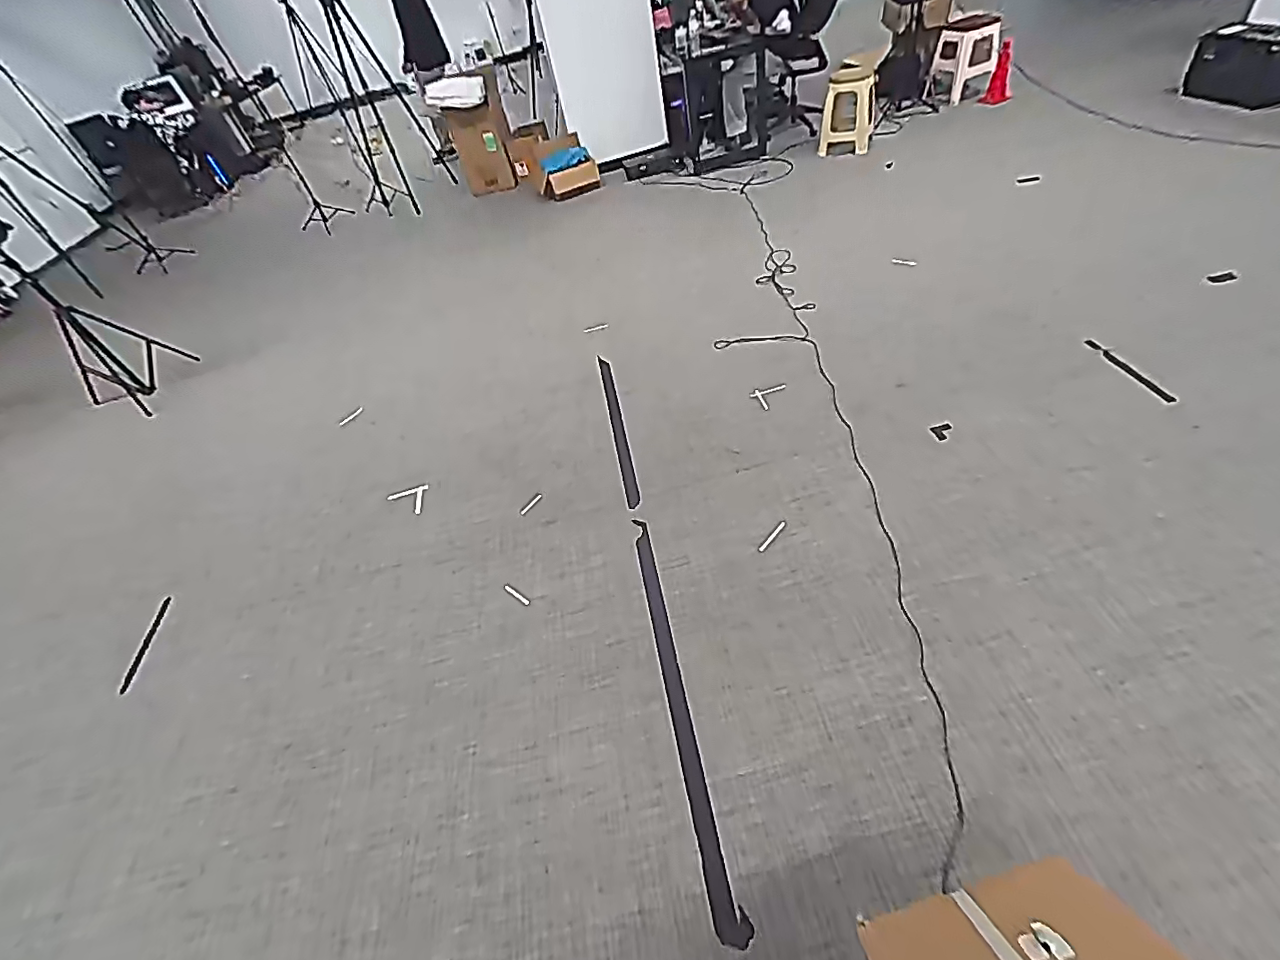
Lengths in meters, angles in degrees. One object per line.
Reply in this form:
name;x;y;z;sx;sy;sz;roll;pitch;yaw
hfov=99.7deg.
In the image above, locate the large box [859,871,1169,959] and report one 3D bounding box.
large box;0.495;0.720;0.561;0.320;0.408;0.320;-20;79;2
